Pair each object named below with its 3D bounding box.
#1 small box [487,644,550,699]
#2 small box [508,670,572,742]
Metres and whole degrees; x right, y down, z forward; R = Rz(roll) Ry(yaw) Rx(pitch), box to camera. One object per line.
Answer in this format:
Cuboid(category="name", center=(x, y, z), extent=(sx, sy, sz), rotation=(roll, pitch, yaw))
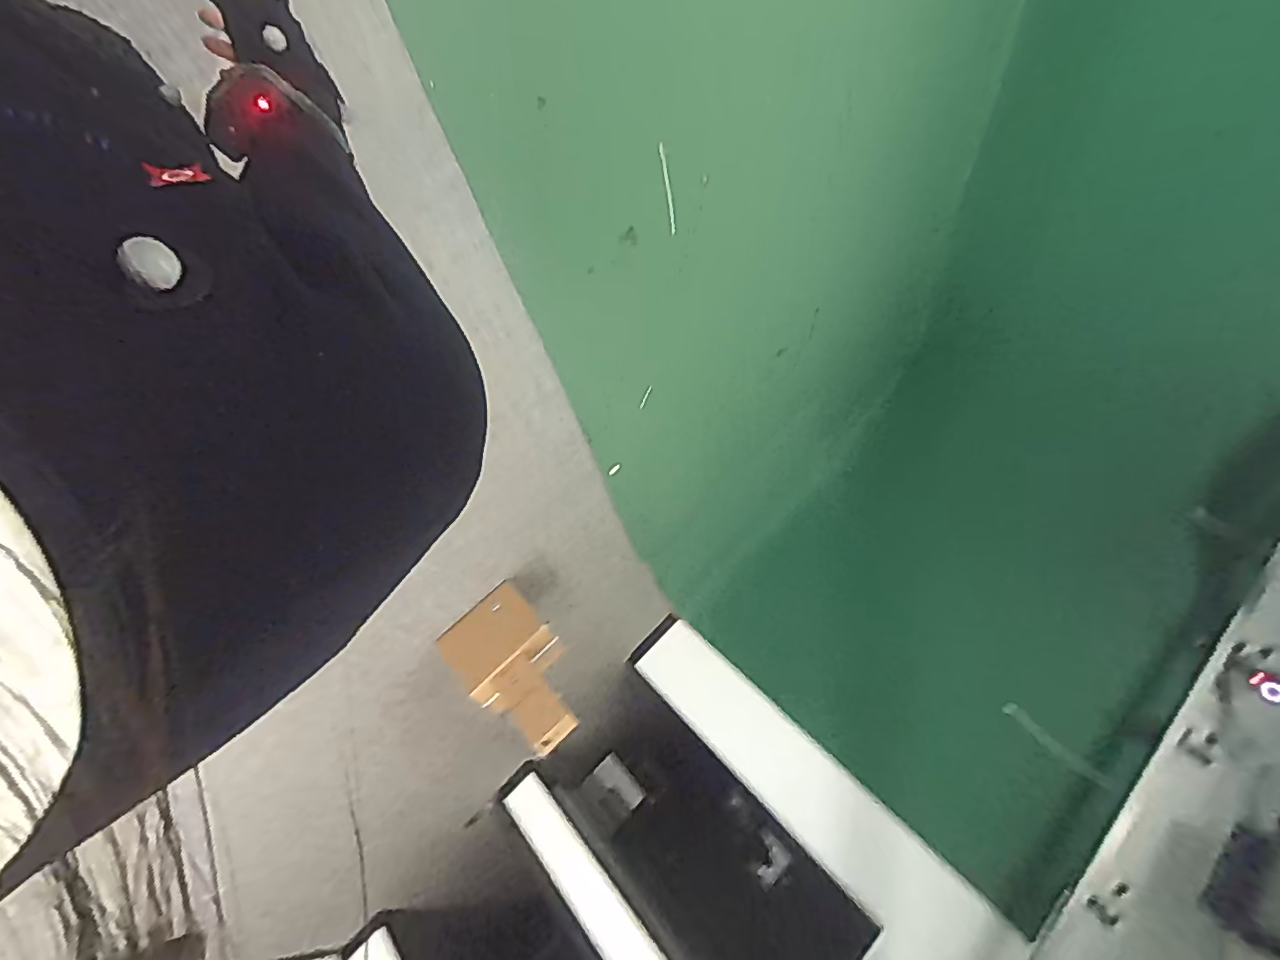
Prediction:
Cuboid(category="small box", center=(-0.506, 0.809, 2.244), extent=(0.168, 0.176, 0.179), rotation=(-41, 147, -18))
Cuboid(category="small box", center=(-0.403, 0.897, 2.148), extent=(0.179, 0.176, 0.168), rotation=(-40, 147, -21))
